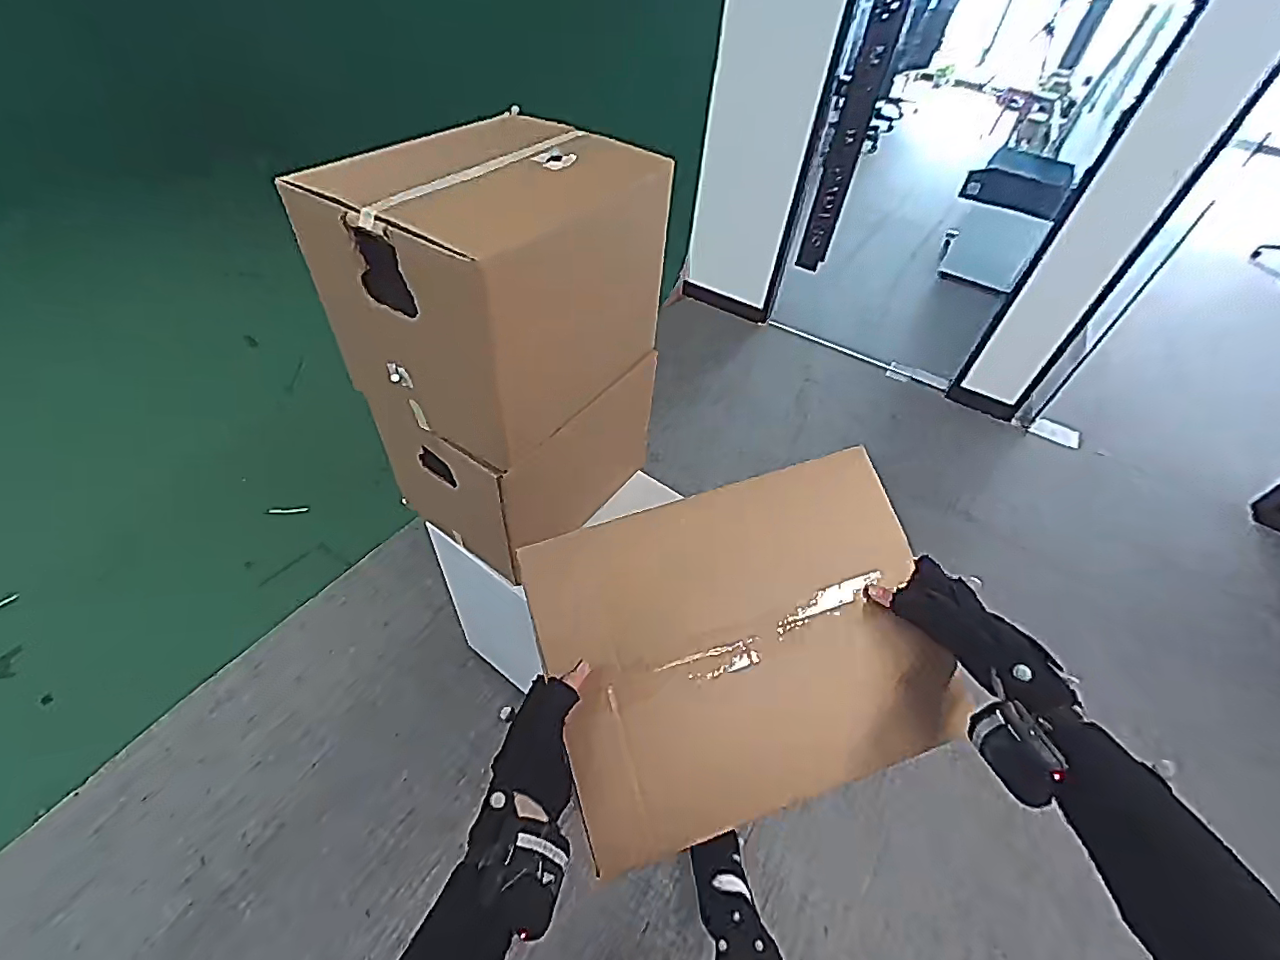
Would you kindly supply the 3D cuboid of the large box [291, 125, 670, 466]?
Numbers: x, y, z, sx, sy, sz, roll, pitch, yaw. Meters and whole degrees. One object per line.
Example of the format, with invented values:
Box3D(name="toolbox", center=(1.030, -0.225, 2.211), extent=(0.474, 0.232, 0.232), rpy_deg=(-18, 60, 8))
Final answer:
Box3D(name="large box", center=(-0.195, -0.293, 0.815), extent=(0.320, 0.320, 0.408), rpy_deg=(27, 50, 18))
